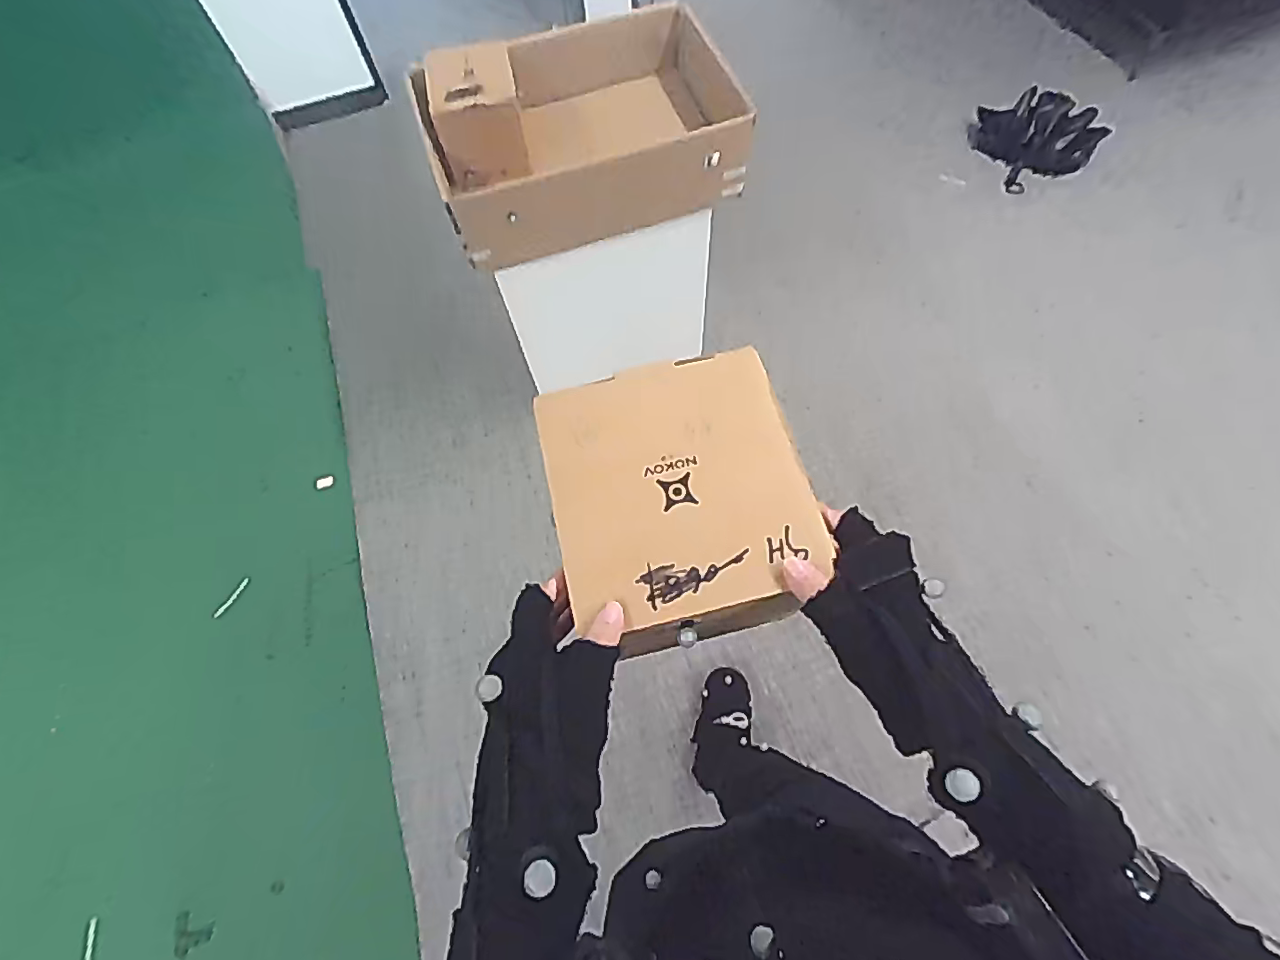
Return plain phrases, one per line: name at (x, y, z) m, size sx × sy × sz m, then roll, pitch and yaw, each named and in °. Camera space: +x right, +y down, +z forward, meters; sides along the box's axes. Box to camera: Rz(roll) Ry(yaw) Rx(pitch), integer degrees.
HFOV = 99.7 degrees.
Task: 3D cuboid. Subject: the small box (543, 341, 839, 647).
small box at (0.031, 0.023, 0.435) m, size 0.168 × 0.176 × 0.179 m, roll -14°, pitch 68°, yaw -1°
